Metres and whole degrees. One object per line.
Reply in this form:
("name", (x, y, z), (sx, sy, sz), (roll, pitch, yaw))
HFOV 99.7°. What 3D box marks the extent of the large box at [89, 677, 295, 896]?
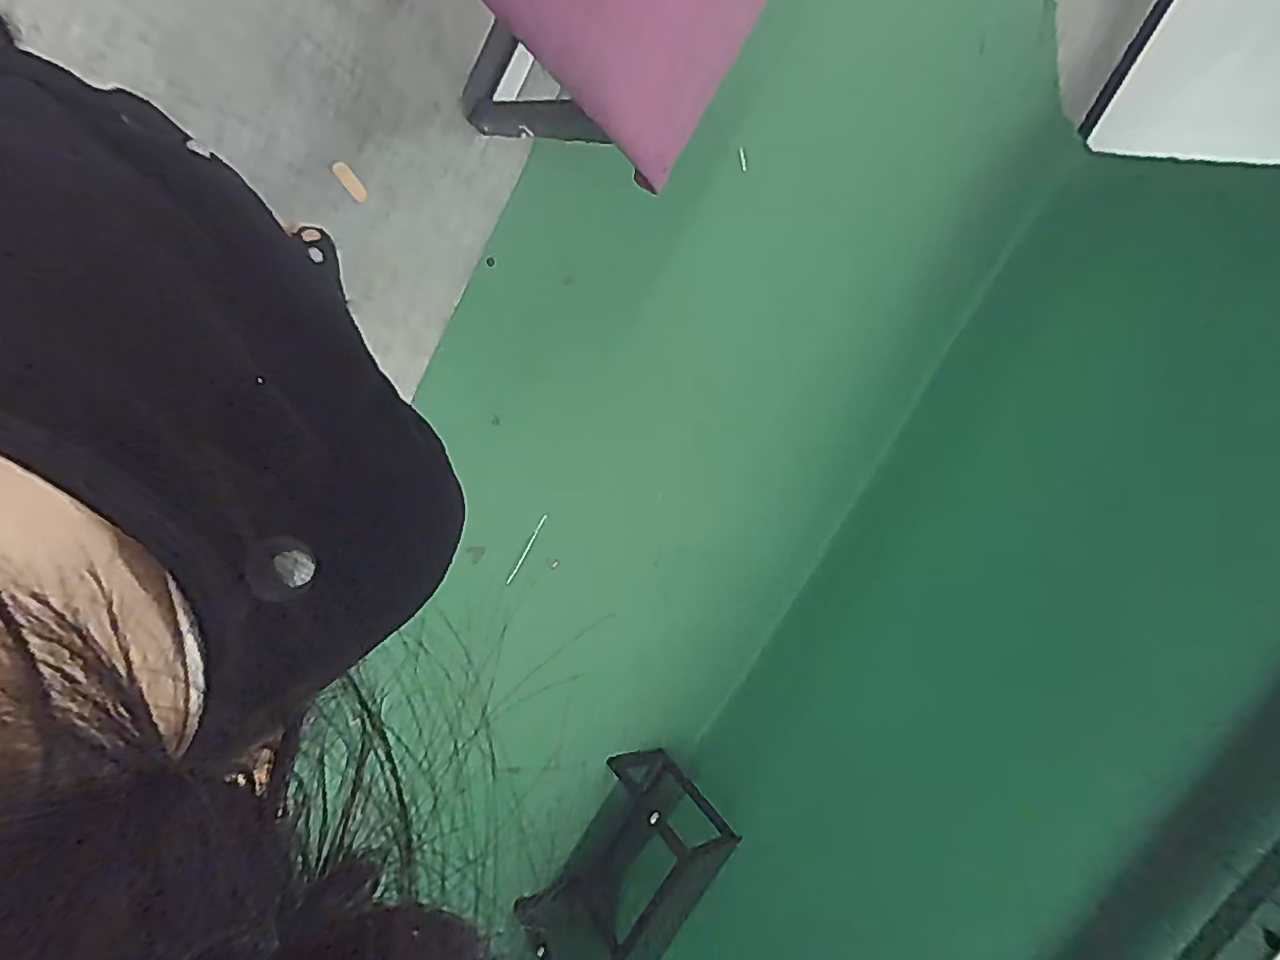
("large box", (-1.234, 0.811, 1.497), (0.408, 0.320, 0.320), (0, 118, -45))
